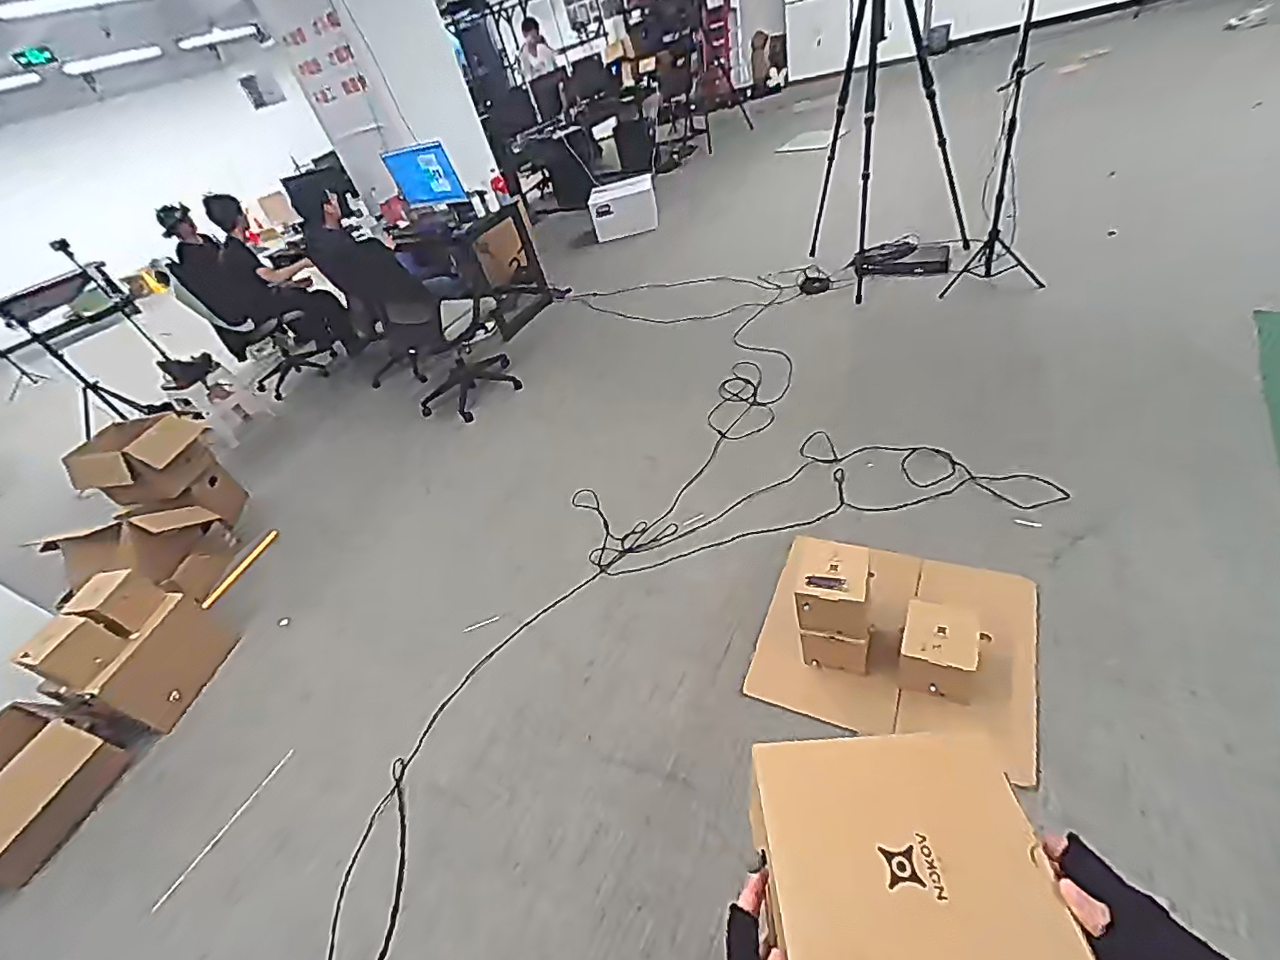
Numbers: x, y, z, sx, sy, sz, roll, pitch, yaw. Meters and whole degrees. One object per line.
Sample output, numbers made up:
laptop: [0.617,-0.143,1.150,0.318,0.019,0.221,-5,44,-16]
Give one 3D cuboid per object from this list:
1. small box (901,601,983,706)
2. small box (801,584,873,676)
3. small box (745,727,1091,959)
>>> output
small box: [0.778,0.448,1.400,0.168,0.176,0.179,7,47,31]
small box: [0.557,0.422,1.517,0.168,0.176,0.179,5,45,27]
small box: [0.178,0.306,0.401,0.179,0.176,0.168,-6,43,3]
